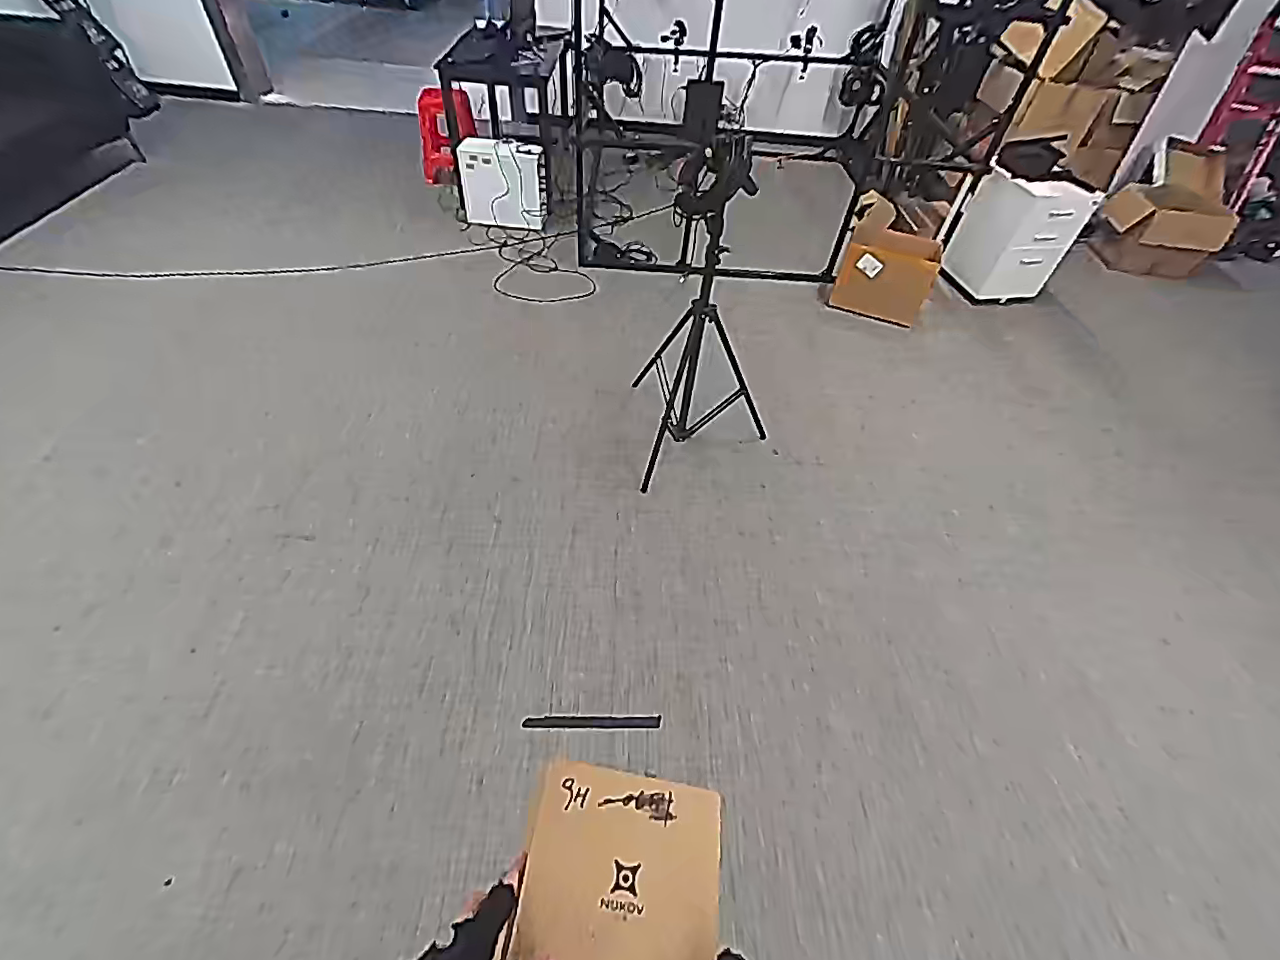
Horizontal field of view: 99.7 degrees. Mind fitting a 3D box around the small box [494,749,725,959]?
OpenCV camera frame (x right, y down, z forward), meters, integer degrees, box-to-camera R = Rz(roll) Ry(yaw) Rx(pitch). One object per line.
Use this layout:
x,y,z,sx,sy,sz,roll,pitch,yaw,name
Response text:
-0.032,0.372,0.493,0.168,0.176,0.179,15,50,-6,small box
